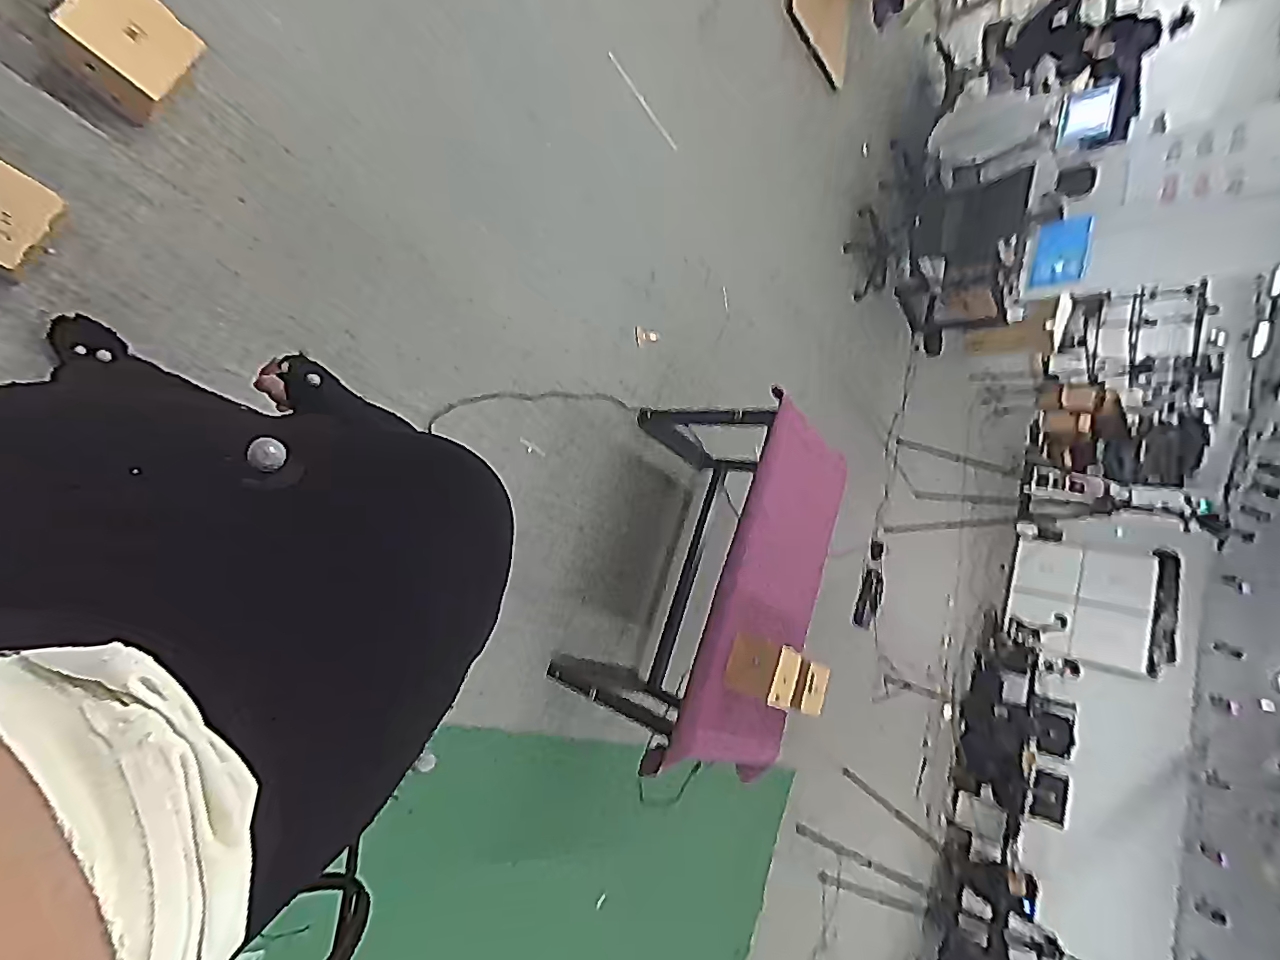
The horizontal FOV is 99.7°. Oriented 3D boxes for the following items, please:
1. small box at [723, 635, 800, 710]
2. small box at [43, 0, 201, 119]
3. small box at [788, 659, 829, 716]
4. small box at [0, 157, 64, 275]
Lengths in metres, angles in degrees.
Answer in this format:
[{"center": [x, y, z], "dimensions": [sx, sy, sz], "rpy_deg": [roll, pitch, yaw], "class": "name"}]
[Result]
[{"center": [0.389, 0.614, 1.740], "dimensions": [0.168, 0.176, 0.179], "rpy_deg": [36, 69, -44], "class": "small box"}, {"center": [-1.038, -0.881, 1.091], "dimensions": [0.168, 0.176, 0.179], "rpy_deg": [37, 68, -43], "class": "small box"}, {"center": [0.539, 0.716, 1.913], "dimensions": [0.179, 0.176, 0.168], "rpy_deg": [34, 71, -44], "class": "small box"}, {"center": [-1.198, -0.495, 0.971], "dimensions": [0.179, 0.176, 0.168], "rpy_deg": [36, 70, -43], "class": "small box"}]
